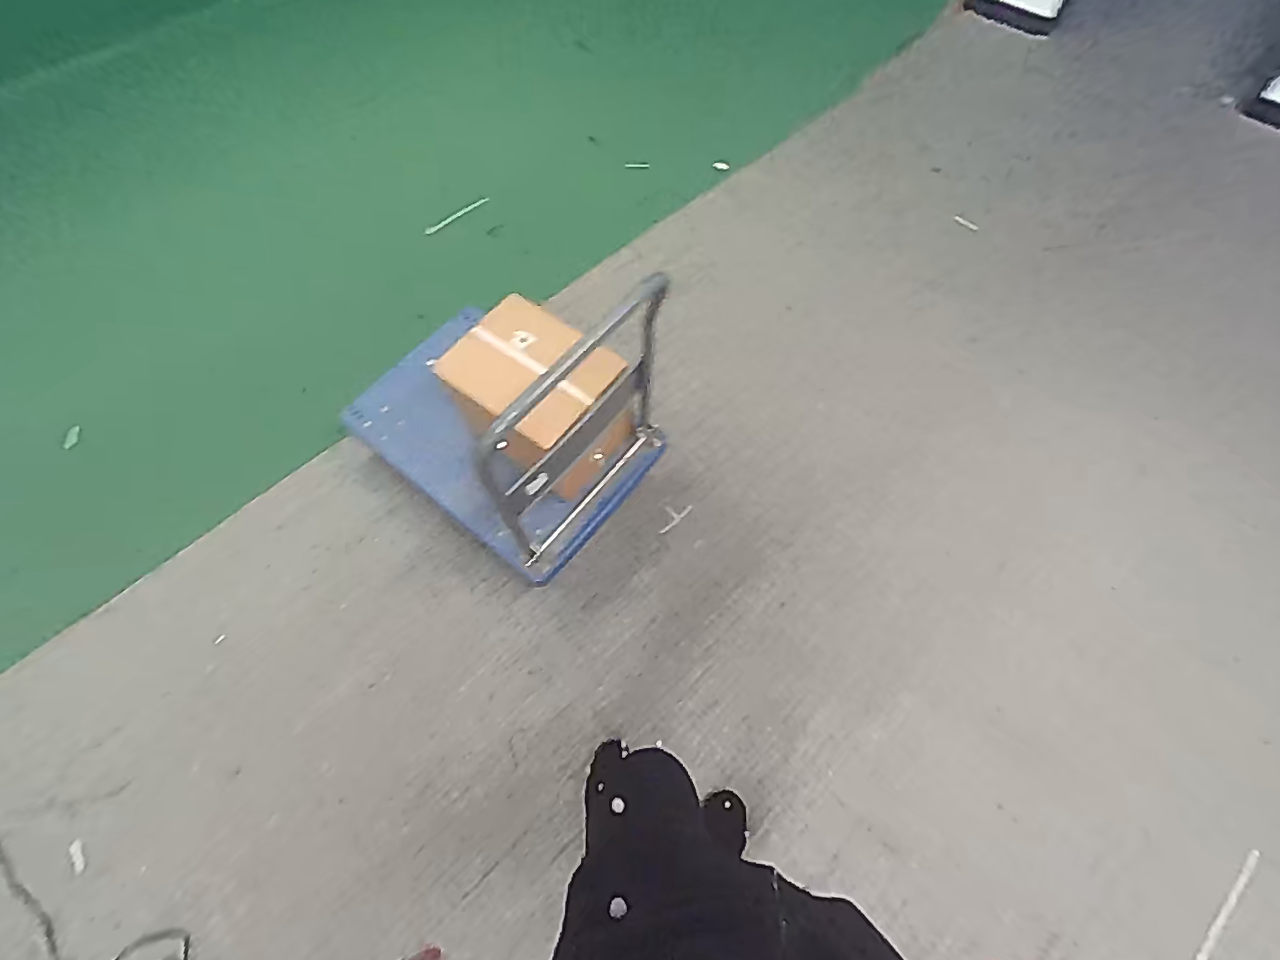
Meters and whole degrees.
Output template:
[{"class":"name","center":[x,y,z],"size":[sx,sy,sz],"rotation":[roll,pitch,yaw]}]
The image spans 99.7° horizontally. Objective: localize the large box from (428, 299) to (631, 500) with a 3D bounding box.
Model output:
[{"class":"large box","center":[-0.279,-0.213,1.482],"size":[0.408,0.320,0.320],"rotation":[33,69,17]}]
